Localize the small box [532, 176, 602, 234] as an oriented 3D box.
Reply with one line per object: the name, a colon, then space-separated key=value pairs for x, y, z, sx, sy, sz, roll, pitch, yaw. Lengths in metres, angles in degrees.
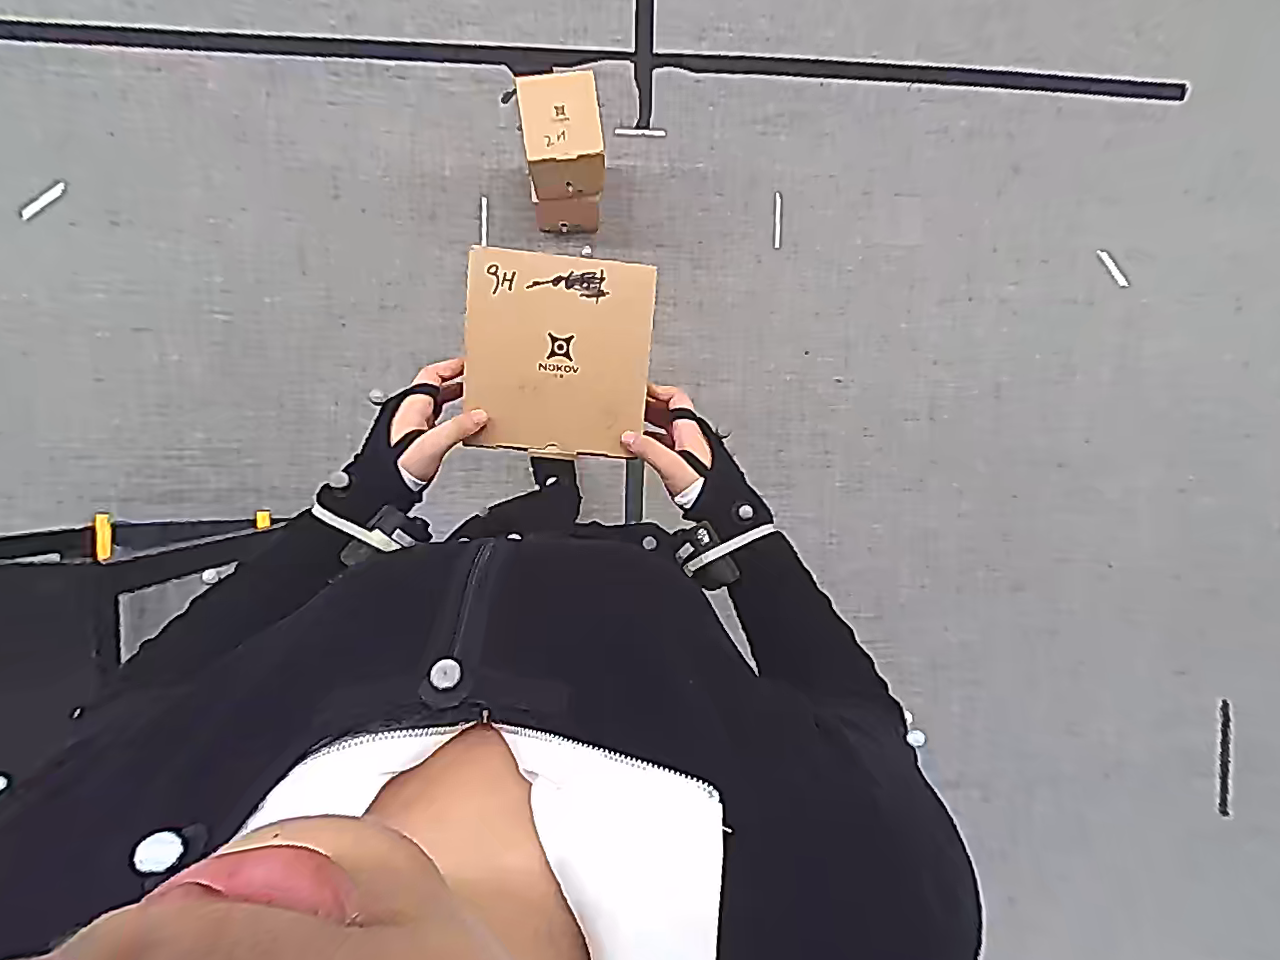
small box: x=-0.183 y=-0.750 z=1.374 sx=0.168 sy=0.176 sz=0.179 roll=-3 pitch=93 yaw=-3

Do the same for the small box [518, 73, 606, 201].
small box: x=-0.169 y=-0.758 z=1.209 sx=0.168 sy=0.176 sz=0.179 roll=-8 pitch=92 yaw=-3

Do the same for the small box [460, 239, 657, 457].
small box: x=-0.080 y=-0.128 z=0.559 sx=0.168 sy=0.176 sz=0.179 roll=4 pitch=100 yaw=-6
